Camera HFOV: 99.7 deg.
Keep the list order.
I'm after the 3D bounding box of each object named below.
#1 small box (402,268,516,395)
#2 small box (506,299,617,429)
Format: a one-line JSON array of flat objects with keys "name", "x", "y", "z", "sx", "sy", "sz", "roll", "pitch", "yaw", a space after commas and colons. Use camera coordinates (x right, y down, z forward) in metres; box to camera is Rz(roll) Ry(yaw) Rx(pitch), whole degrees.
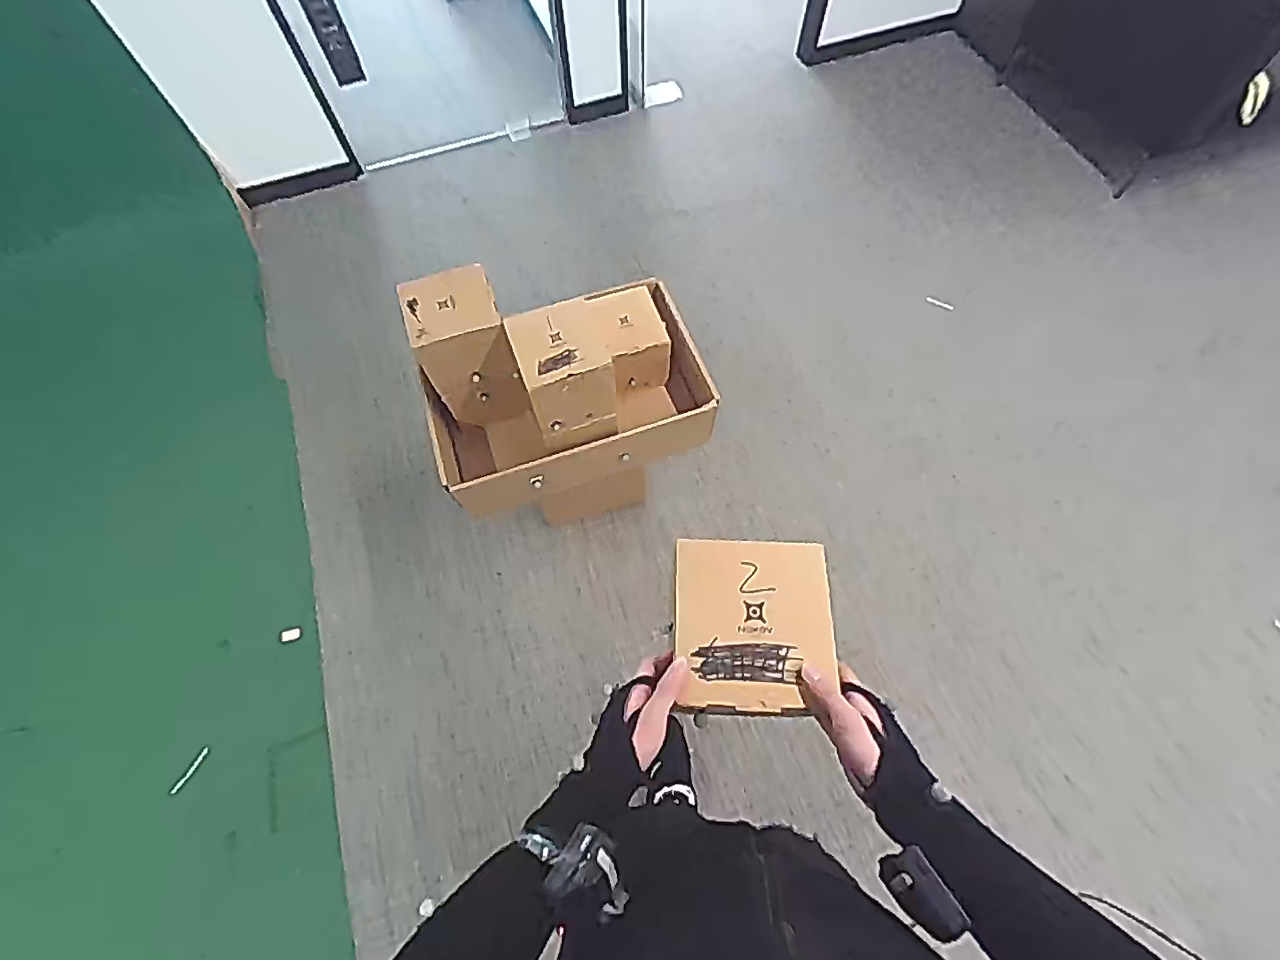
[{"name": "small box", "x": -0.365, "y": -0.302, "z": 1.120, "sx": 0.179, "sy": 0.176, "sz": 0.168, "roll": -17, "pitch": 67, "yaw": -9}, {"name": "small box", "x": -0.151, "y": -0.220, "z": 1.079, "sx": 0.168, "sy": 0.176, "sz": 0.179, "roll": -19, "pitch": 66, "yaw": -9}]
